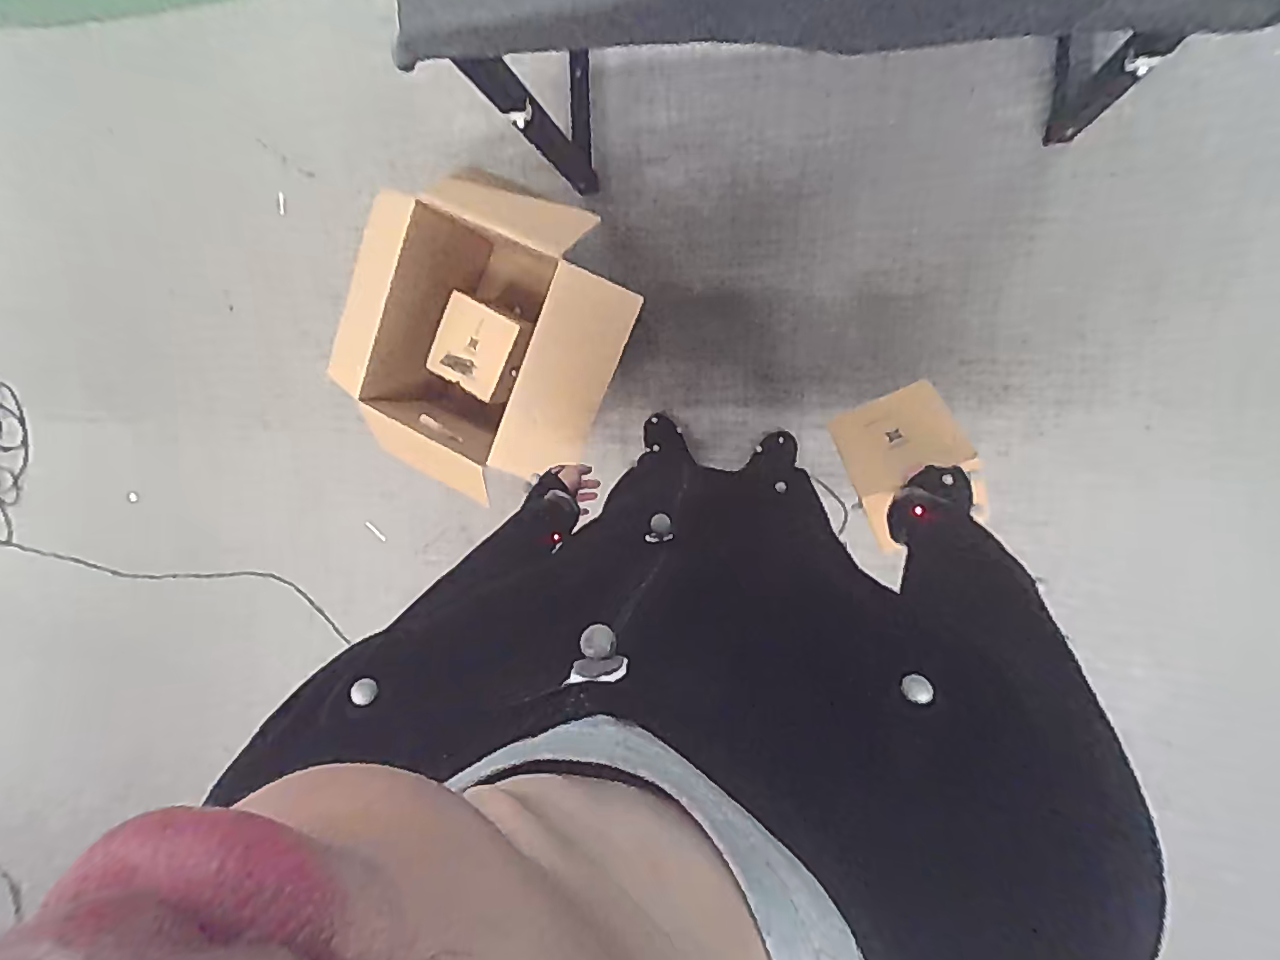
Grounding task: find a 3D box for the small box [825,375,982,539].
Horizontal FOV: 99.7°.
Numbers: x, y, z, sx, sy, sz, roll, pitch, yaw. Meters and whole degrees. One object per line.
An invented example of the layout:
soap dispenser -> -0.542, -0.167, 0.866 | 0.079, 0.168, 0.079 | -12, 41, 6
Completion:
small box -> 0.418, -0.026, 0.860 | 0.168, 0.179, 0.176 | -23, 135, 18
